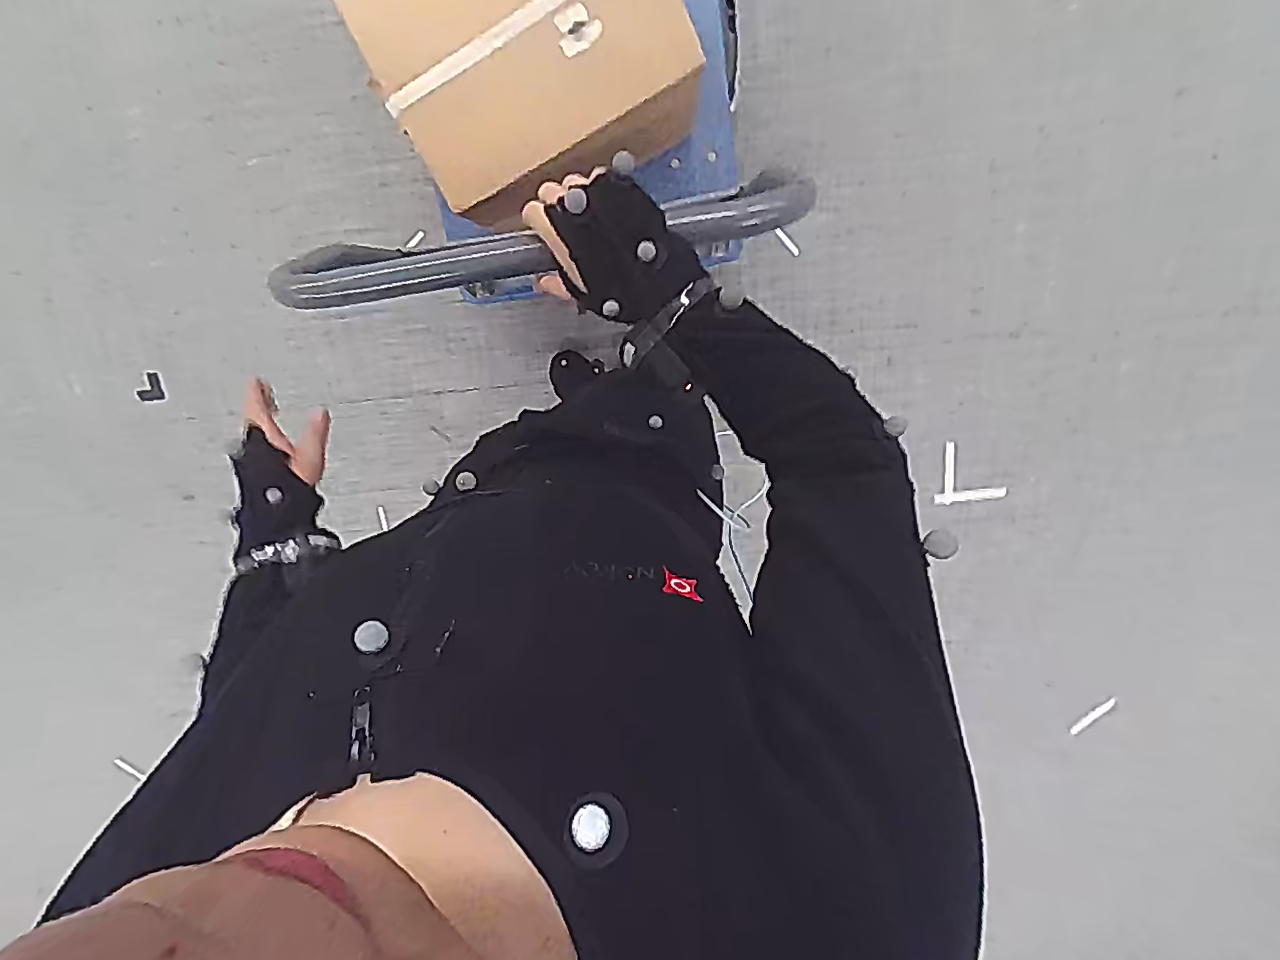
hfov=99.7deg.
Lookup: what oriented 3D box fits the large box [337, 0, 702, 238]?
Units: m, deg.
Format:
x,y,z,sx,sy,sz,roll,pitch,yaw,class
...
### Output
x,y,z,sx,sy,sz,roll,pitch,yaw,class
-0.158,-0.646,0.854,0.408,0.320,0.320,-27,106,8,large box
